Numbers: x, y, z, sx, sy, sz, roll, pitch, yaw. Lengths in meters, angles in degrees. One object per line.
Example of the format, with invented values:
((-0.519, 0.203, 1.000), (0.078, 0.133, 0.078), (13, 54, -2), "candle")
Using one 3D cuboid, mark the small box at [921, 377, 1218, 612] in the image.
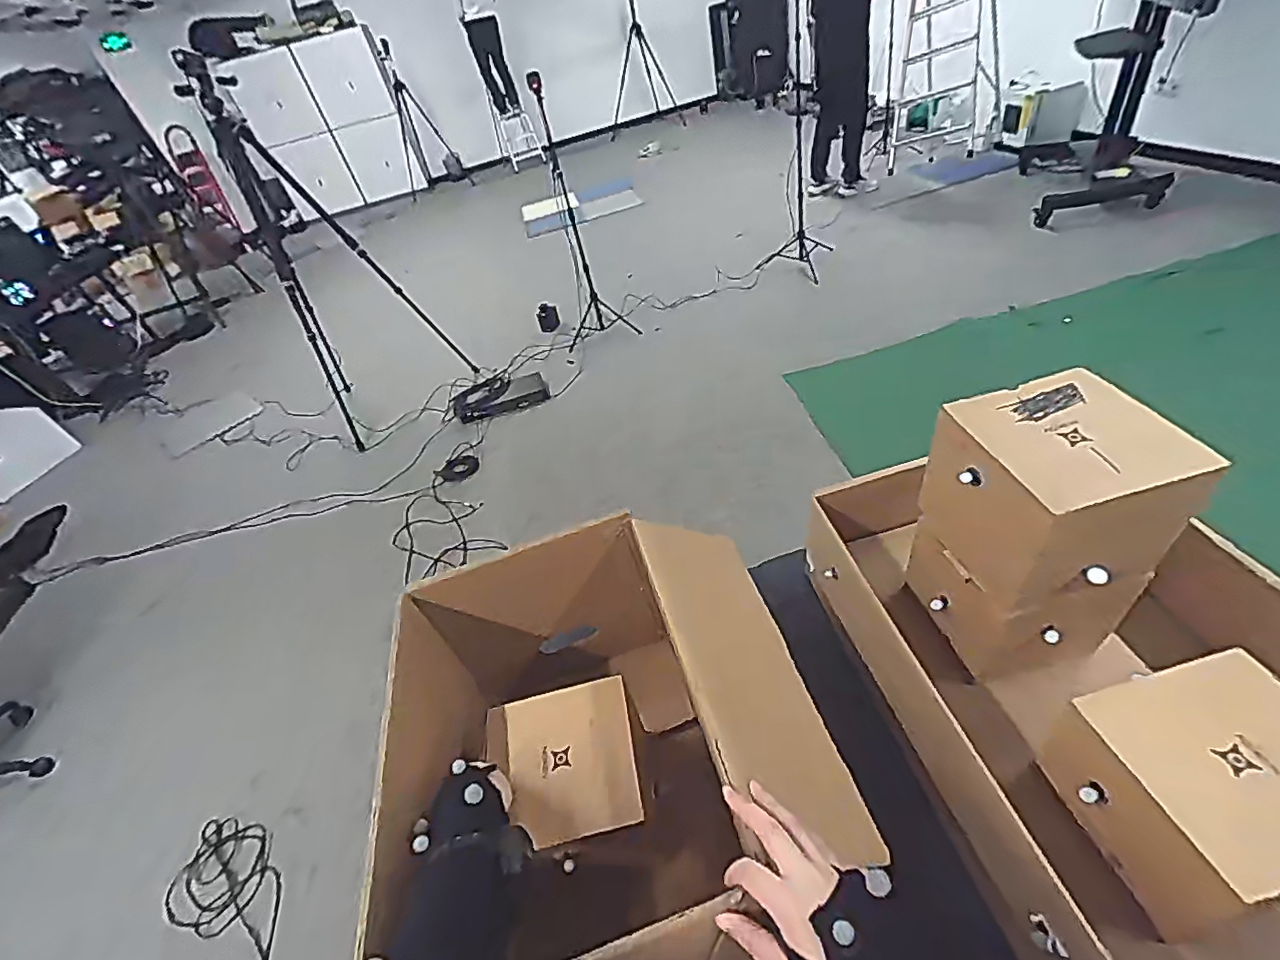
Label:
((0.444, 0.016, 0.603), (0.168, 0.176, 0.179), (-15, 44, 0), "small box")
